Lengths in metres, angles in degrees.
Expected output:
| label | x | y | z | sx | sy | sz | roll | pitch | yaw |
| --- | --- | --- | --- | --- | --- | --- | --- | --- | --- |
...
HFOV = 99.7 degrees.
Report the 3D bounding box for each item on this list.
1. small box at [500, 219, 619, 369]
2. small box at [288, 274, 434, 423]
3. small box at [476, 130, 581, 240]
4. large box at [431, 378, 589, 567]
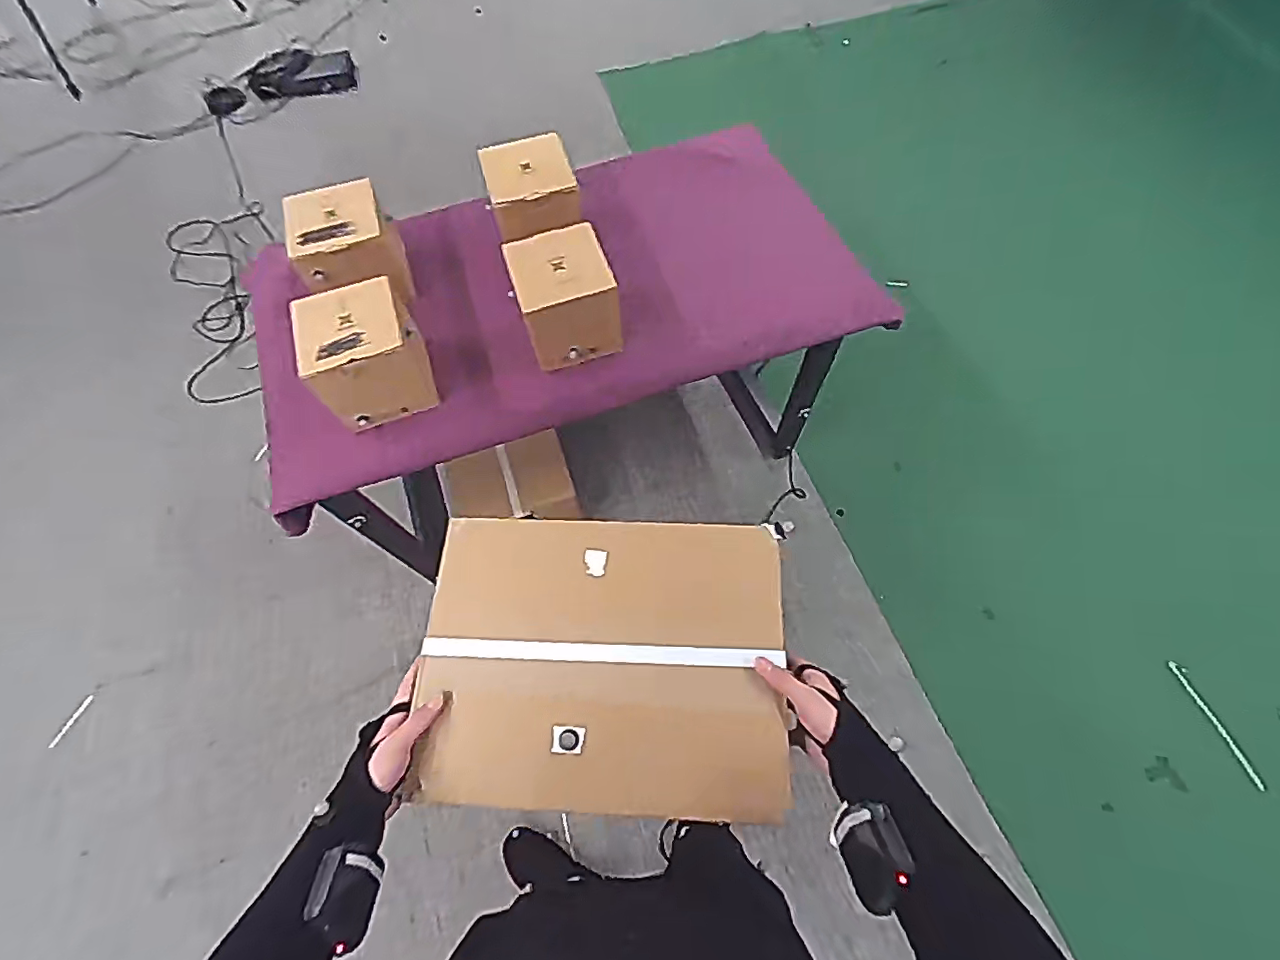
| label | x | y | z | sx | sy | sz | roll | pitch | yaw |
| --- | --- | --- | --- | --- | --- | --- | --- | --- | --- |
| small box | -0.143 | -0.338 | 0.998 | 0.168 | 0.176 | 0.179 | -18 | 64 | -5 |
| small box | -0.484 | -0.222 | 0.955 | 0.168 | 0.176 | 0.179 | -20 | 64 | -7 |
| small box | -0.222 | -0.574 | 1.115 | 0.168 | 0.176 | 0.179 | -17 | 66 | -6 |
| large box | -0.370 | -0.014 | 1.587 | 0.320 | 0.320 | 0.408 | -19 | 64 | -7 |
